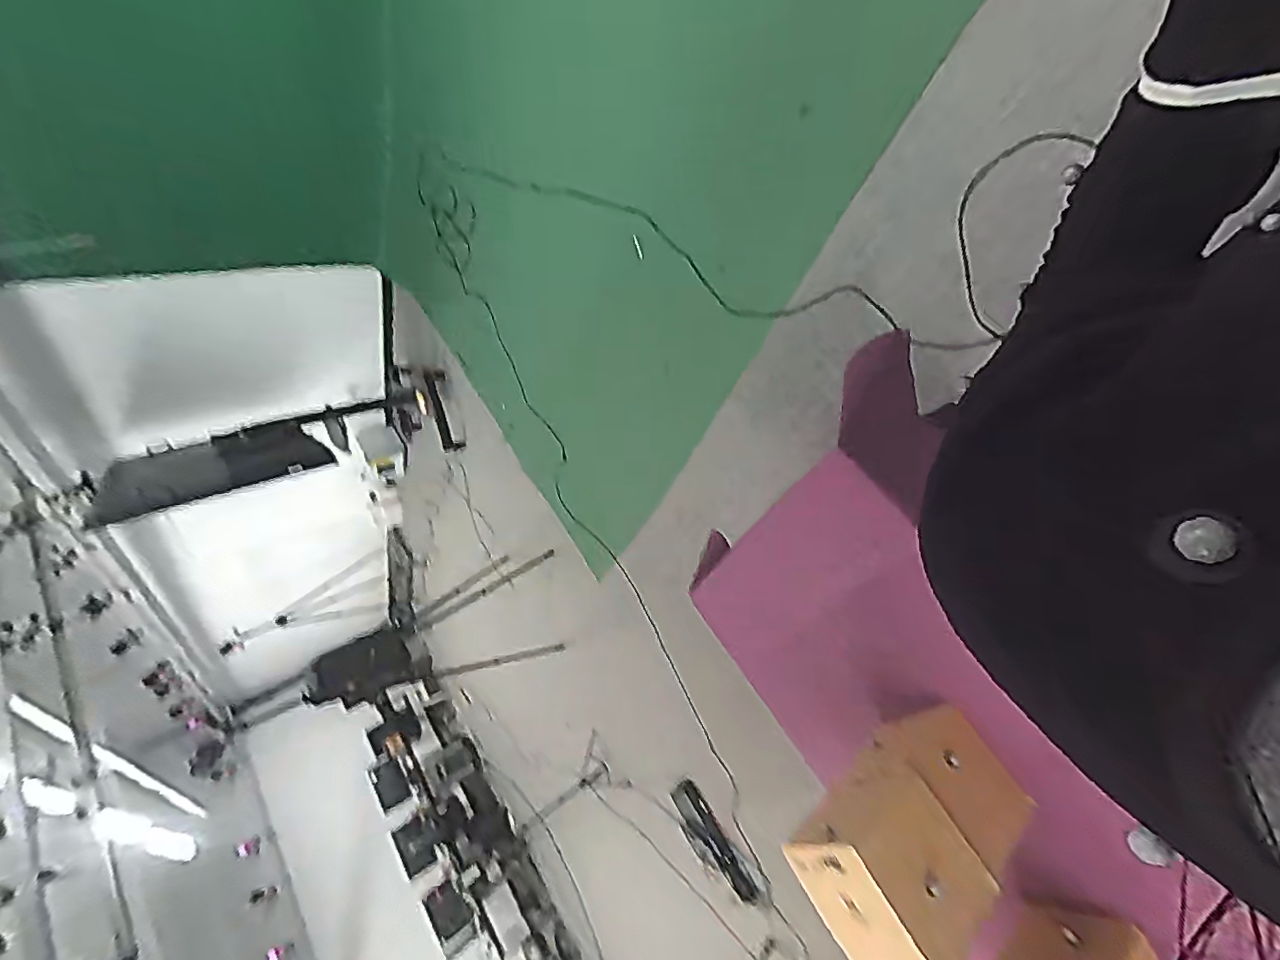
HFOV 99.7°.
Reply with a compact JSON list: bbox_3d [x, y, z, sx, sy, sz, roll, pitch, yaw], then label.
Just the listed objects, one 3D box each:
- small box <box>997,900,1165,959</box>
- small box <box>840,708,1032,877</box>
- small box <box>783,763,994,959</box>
[{"bbox_3d":[0.647,0.750,0.758,0.179,0.176,0.168,61,143,12],"label":"small box"},{"bbox_3d":[0.467,0.488,0.860,0.179,0.176,0.168,55,142,18],"label":"small box"},{"bbox_3d":[0.347,0.534,0.758,0.179,0.176,0.168,56,142,17],"label":"small box"}]
